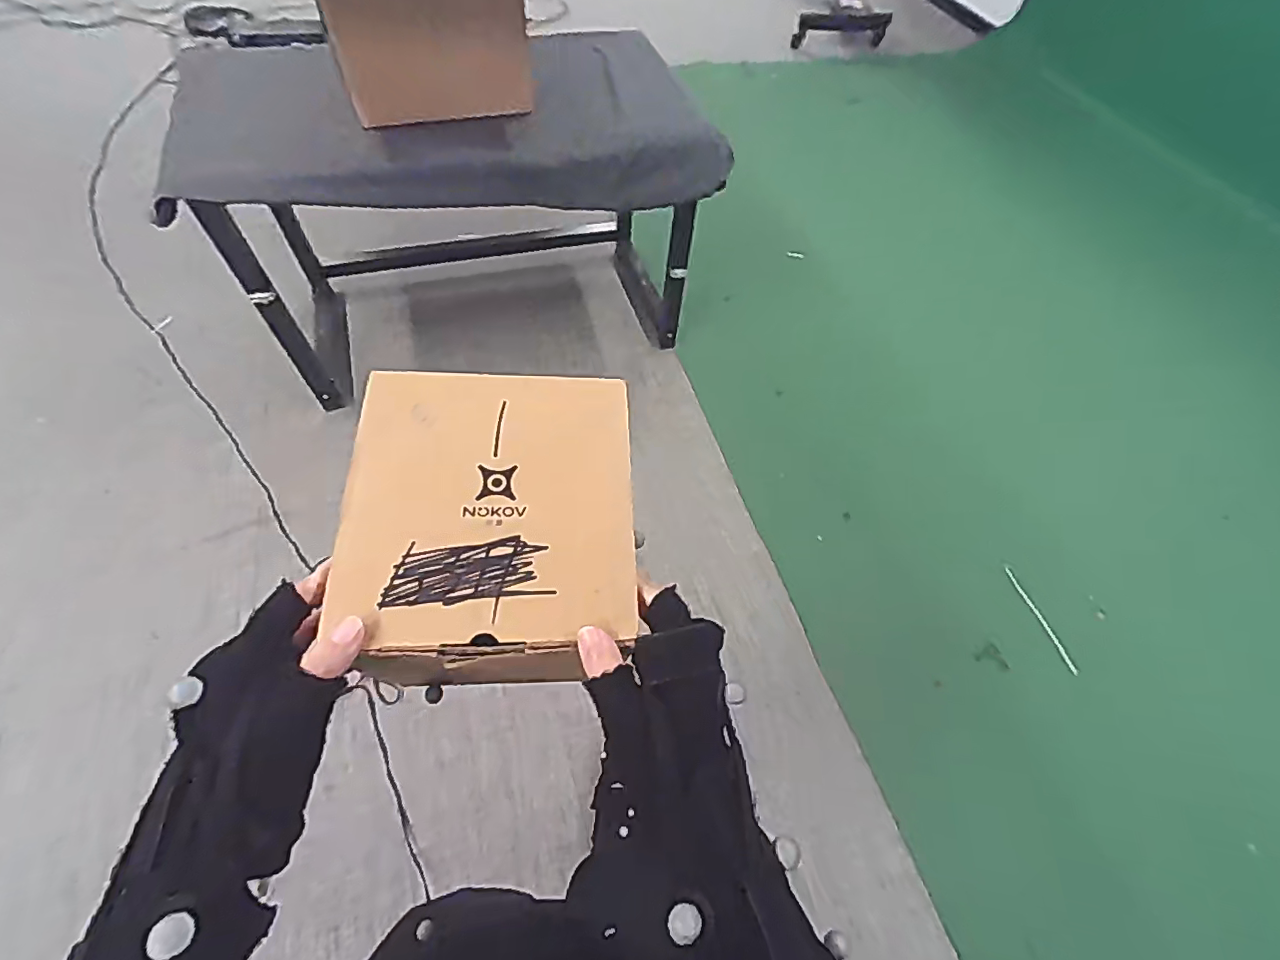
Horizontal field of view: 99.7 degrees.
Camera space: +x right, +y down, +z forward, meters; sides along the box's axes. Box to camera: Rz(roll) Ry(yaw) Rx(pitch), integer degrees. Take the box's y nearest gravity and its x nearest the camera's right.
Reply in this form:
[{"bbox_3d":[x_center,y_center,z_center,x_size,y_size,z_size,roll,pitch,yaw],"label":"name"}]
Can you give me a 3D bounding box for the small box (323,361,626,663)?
[{"bbox_3d":[-0.099,0.035,0.400,0.168,0.176,0.179,1,62,-7],"label":"small box"}]
